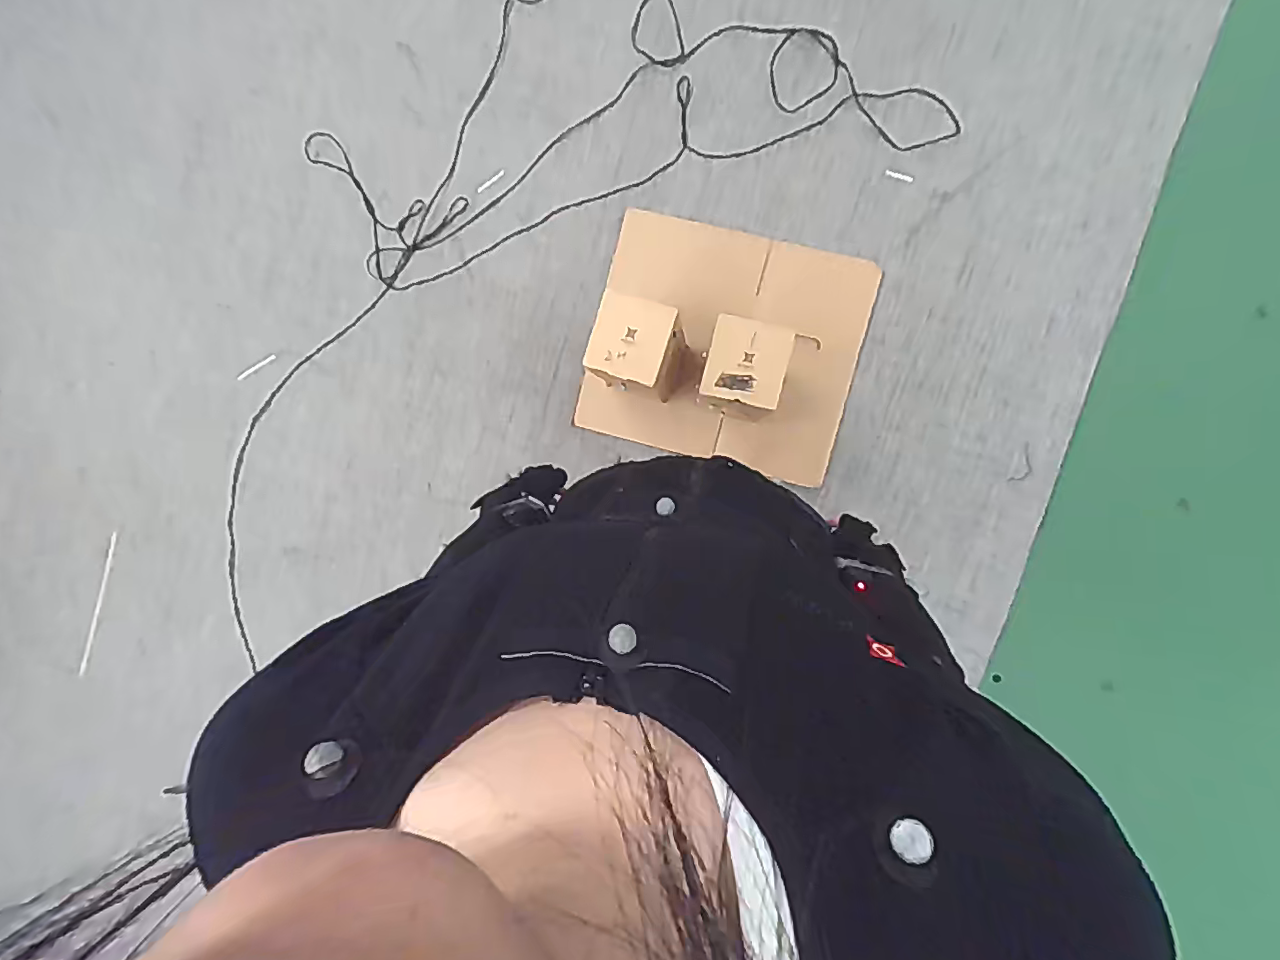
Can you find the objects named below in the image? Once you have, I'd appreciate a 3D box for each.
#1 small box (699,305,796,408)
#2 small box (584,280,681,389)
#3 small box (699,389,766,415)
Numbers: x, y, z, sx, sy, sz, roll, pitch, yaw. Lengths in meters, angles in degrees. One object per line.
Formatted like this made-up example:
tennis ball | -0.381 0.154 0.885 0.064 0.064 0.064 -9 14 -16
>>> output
small box | 0.232 -0.264 1.196 0.168 0.176 0.179 14 94 5
small box | -0.010 -0.319 1.218 0.168 0.176 0.179 19 95 6
small box | 0.247 -0.271 1.360 0.168 0.176 0.179 14 95 5
